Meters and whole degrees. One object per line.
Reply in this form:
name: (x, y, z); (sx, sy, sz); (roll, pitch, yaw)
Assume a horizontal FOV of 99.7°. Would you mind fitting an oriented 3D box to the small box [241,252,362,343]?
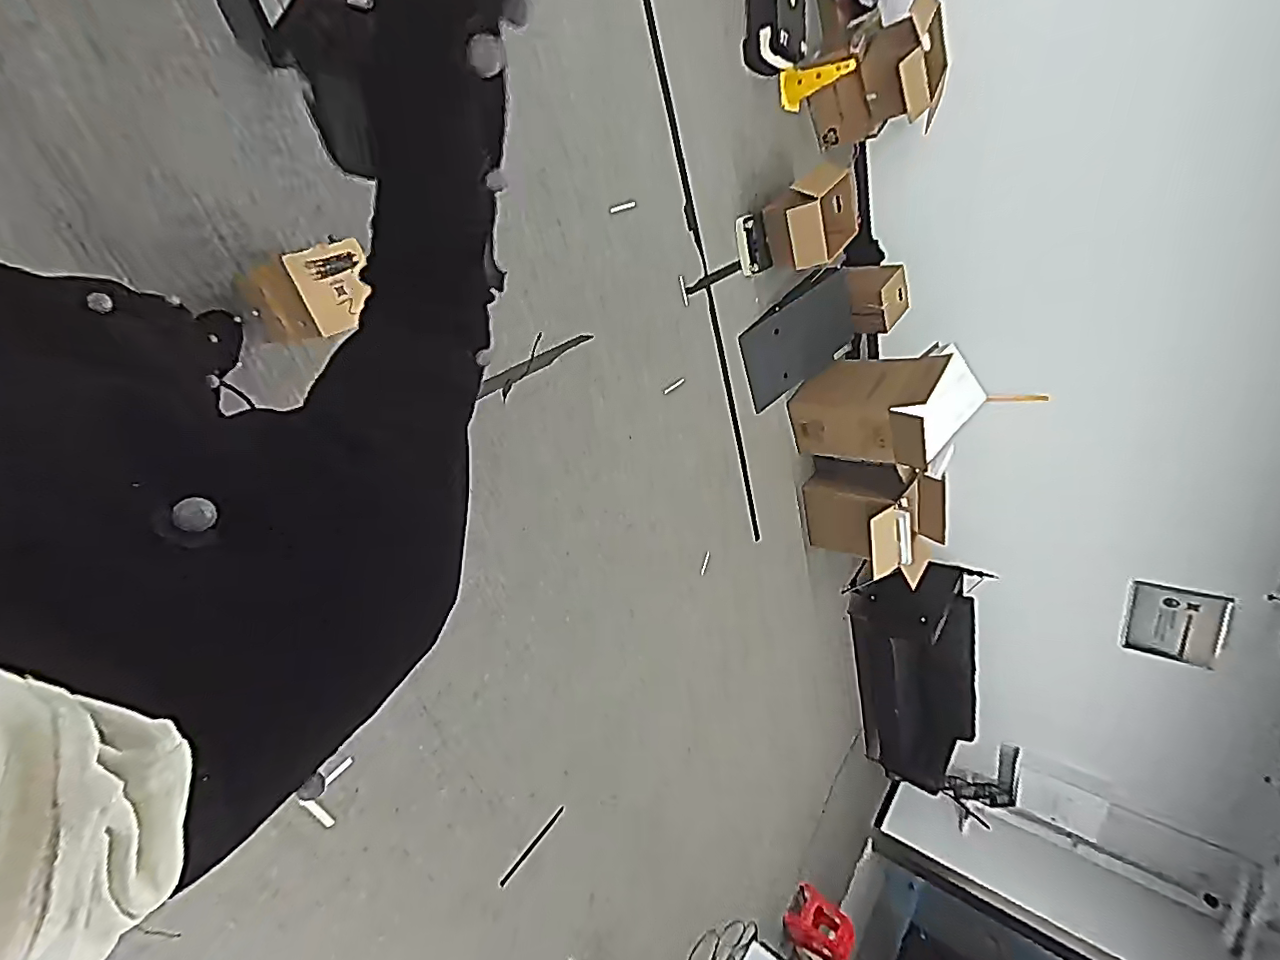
small box: (-0.839, -0.450, 1.340); (0.179, 0.176, 0.168); (-40, 125, -35)
